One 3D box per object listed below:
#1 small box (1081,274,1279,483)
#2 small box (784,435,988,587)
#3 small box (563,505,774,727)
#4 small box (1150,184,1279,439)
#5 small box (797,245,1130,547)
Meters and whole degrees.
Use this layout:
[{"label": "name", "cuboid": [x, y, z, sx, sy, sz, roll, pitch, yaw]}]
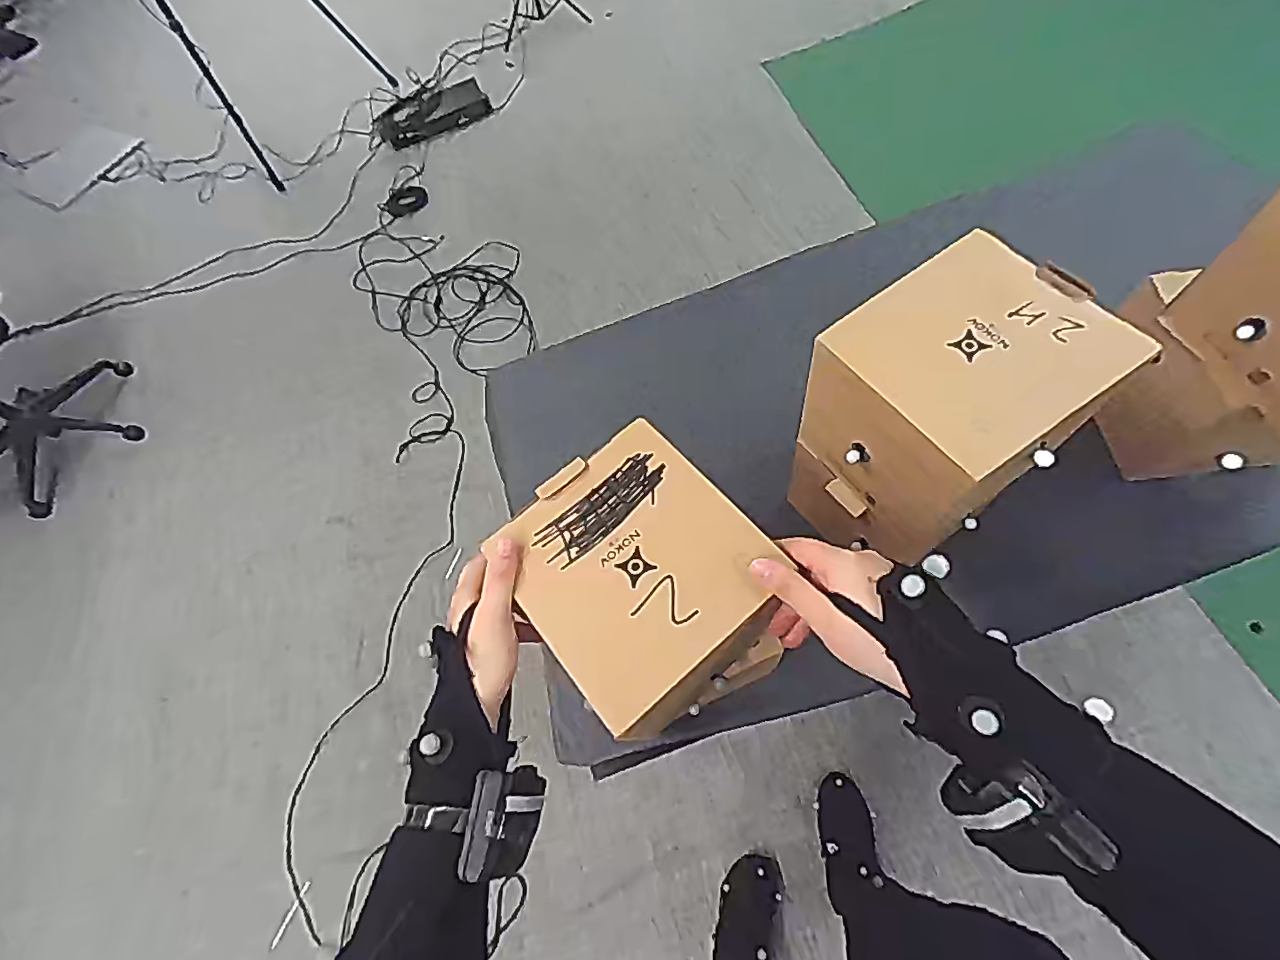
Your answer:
[{"label": "small box", "cuboid": [0.642, -0.116, 0.622, 0.168, 0.176, 0.179, -8, 64, 9]}, {"label": "small box", "cuboid": [0.290, 0.002, 0.641, 0.179, 0.176, 0.168, -36, 64, -7]}, {"label": "small box", "cuboid": [0.034, 0.162, 0.615, 0.168, 0.176, 0.179, -26, 63, -2]}, {"label": "small box", "cuboid": [0.623, -0.164, 0.466, 0.179, 0.176, 0.168, -23, 62, 1]}, {"label": "small box", "cuboid": [0.261, -0.064, 0.492, 0.179, 0.176, 0.168, -34, 64, -6]}]
